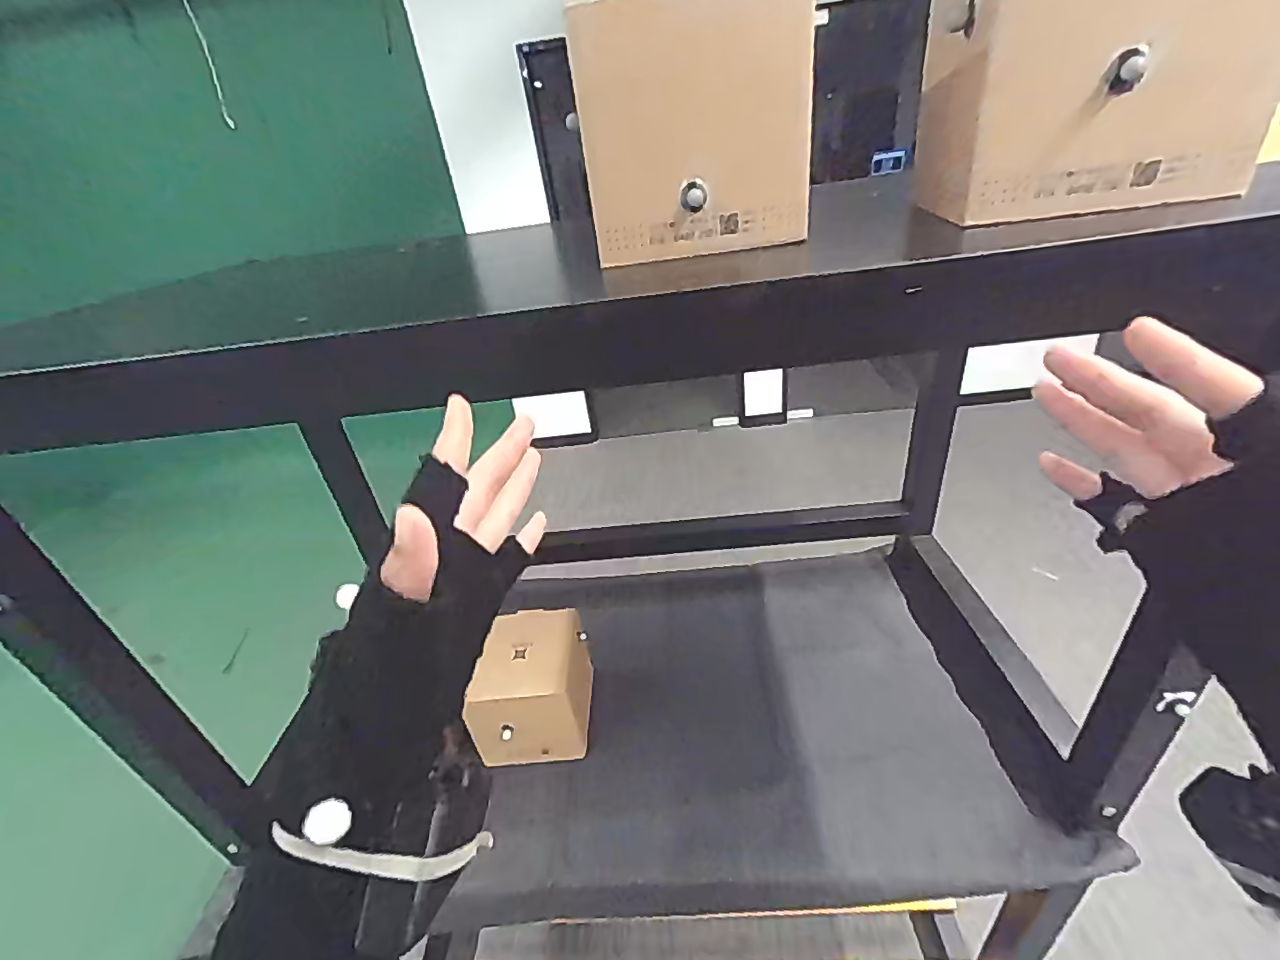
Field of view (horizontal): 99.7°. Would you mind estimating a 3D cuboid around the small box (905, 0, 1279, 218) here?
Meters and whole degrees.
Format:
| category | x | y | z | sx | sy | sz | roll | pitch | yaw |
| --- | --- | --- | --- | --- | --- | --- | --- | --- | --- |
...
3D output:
| category | x | y | z | sx | sy | sz | roll | pitch | yaw |
| --- | --- | --- | --- | --- | --- | --- | --- | --- | --- |
| small box | 0.304 | -0.296 | 0.394 | 0.168 | 0.176 | 0.179 | 0 | 31 | 14 |
